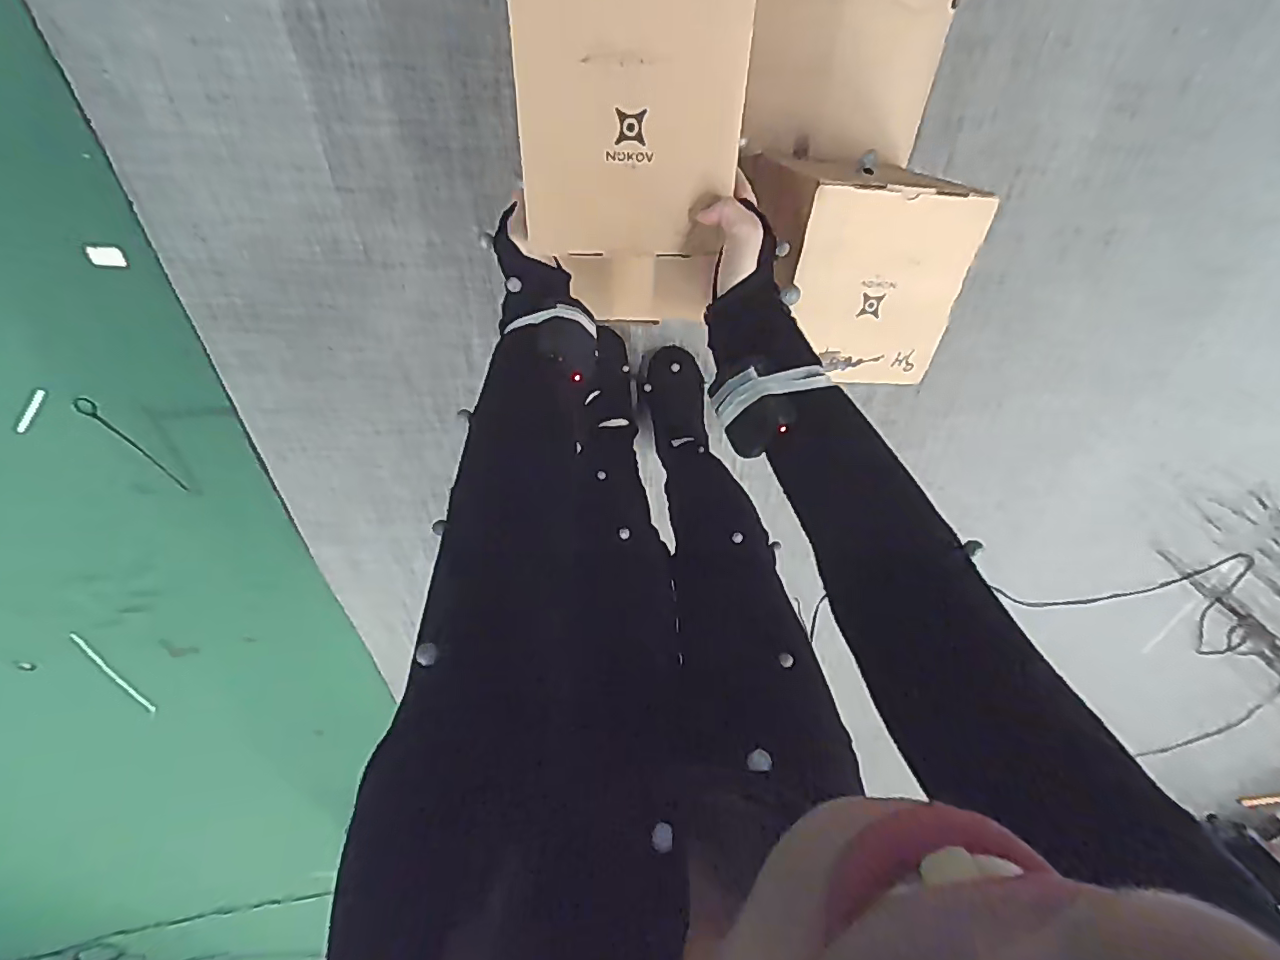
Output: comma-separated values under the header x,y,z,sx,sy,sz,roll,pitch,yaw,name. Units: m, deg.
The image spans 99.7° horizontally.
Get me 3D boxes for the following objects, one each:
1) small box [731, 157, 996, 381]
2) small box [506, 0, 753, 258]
x,y,z,sx,sy,sz,roll,pitch,yaw,name
0.201,-0.217,0.550,0.168,0.176,0.179,1,126,-8,small box
-0.014,-0.304,0.463,0.168,0.176,0.179,0,125,-4,small box
